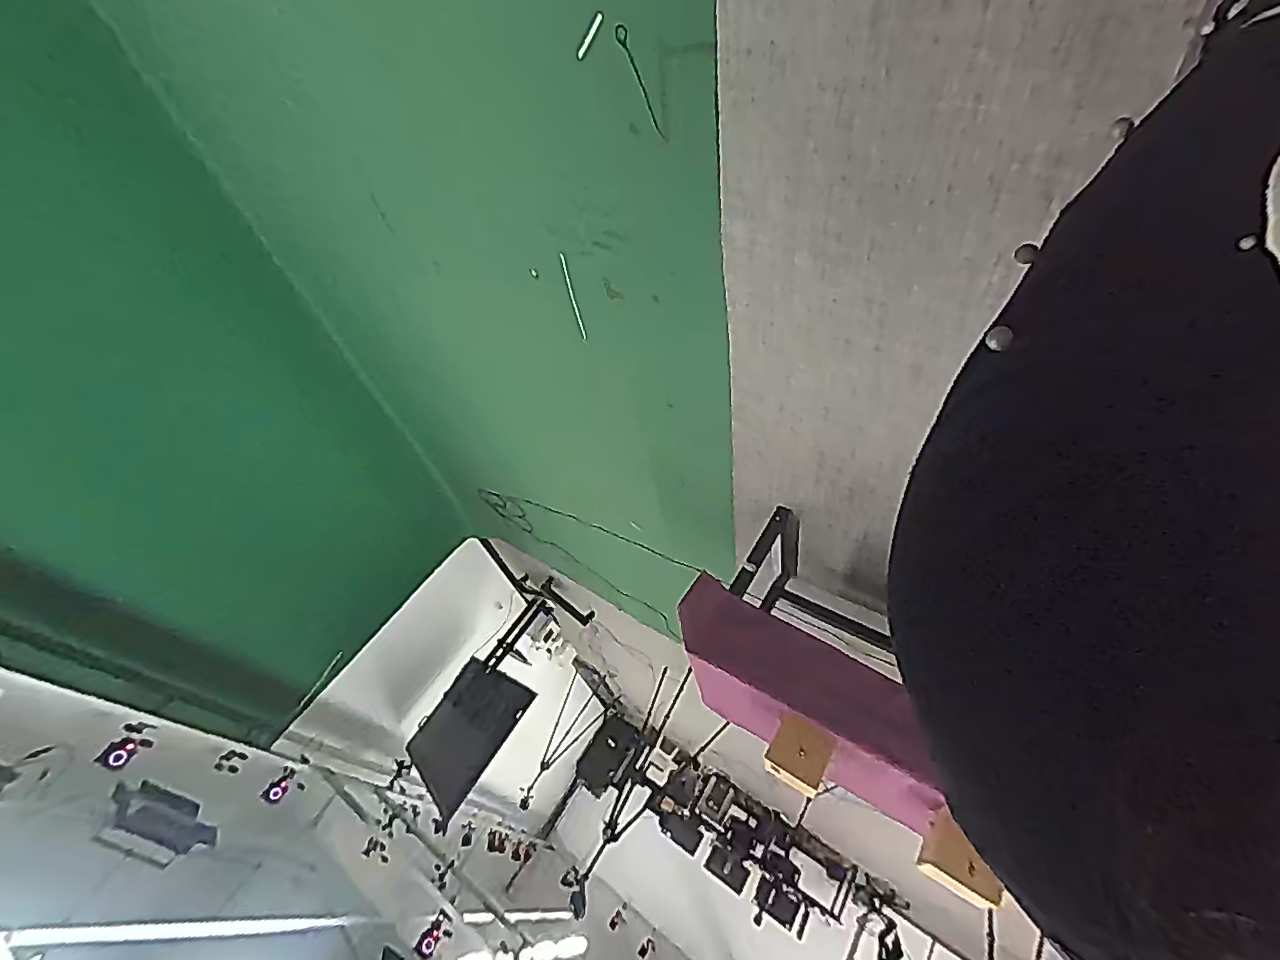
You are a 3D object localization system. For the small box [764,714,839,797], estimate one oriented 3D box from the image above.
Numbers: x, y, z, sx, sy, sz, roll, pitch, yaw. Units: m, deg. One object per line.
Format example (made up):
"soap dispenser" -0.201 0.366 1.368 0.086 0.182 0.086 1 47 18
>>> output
"small box" 0.520 0.882 1.748 0.179 0.176 0.168 23 150 26

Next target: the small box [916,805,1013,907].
"small box" 0.916 1.058 1.528 0.179 0.176 0.168 24 150 27
